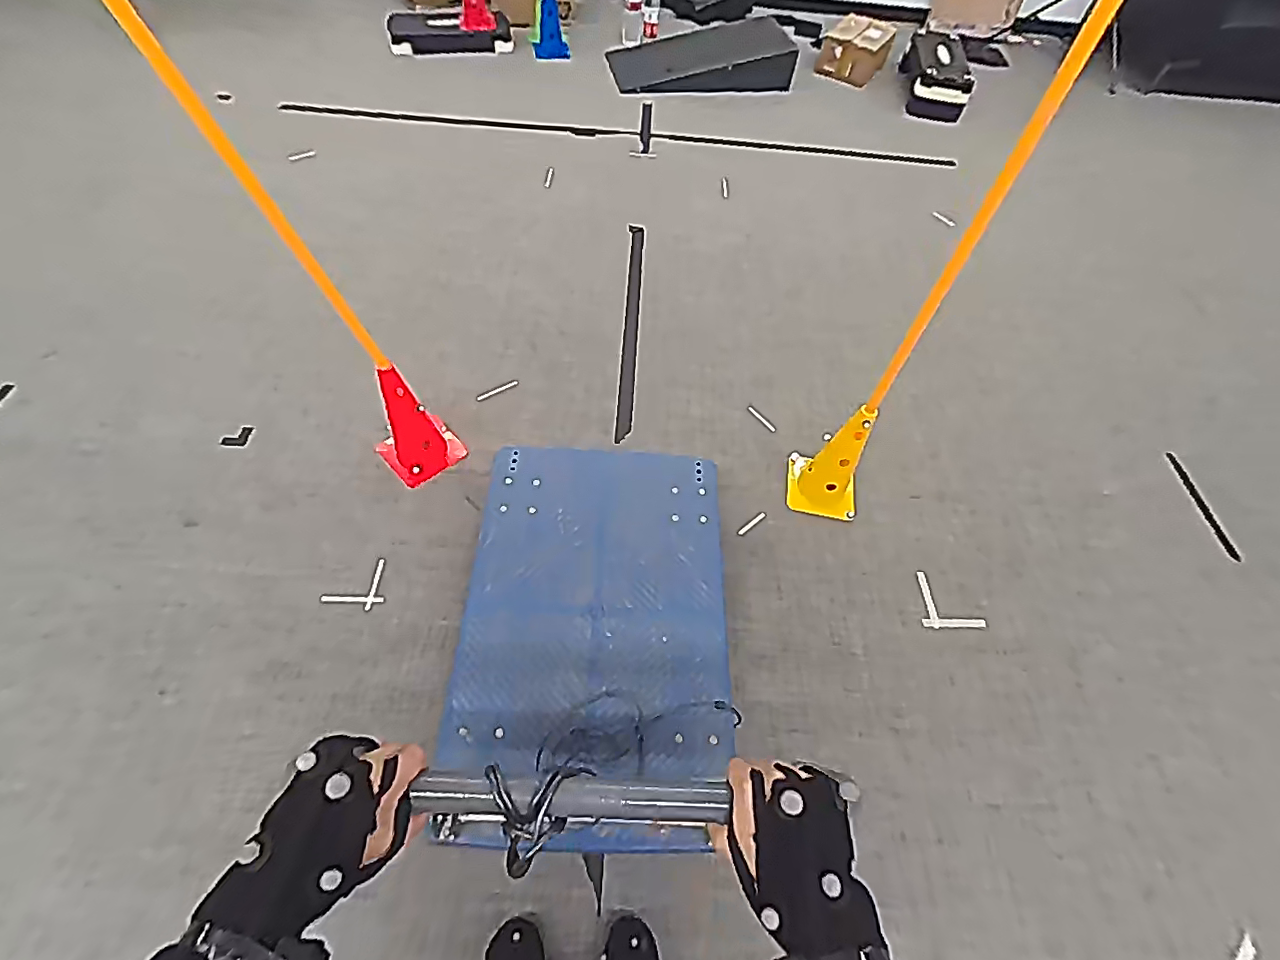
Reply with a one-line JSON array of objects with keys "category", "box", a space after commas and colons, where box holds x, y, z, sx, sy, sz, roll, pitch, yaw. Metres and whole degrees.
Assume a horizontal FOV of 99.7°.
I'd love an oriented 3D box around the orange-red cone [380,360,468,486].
[{"category": "orange-red cone", "box": [-0.619, -0.180, 1.447, 0.199, 0.360, 0.198, -36, 68, -26]}]
